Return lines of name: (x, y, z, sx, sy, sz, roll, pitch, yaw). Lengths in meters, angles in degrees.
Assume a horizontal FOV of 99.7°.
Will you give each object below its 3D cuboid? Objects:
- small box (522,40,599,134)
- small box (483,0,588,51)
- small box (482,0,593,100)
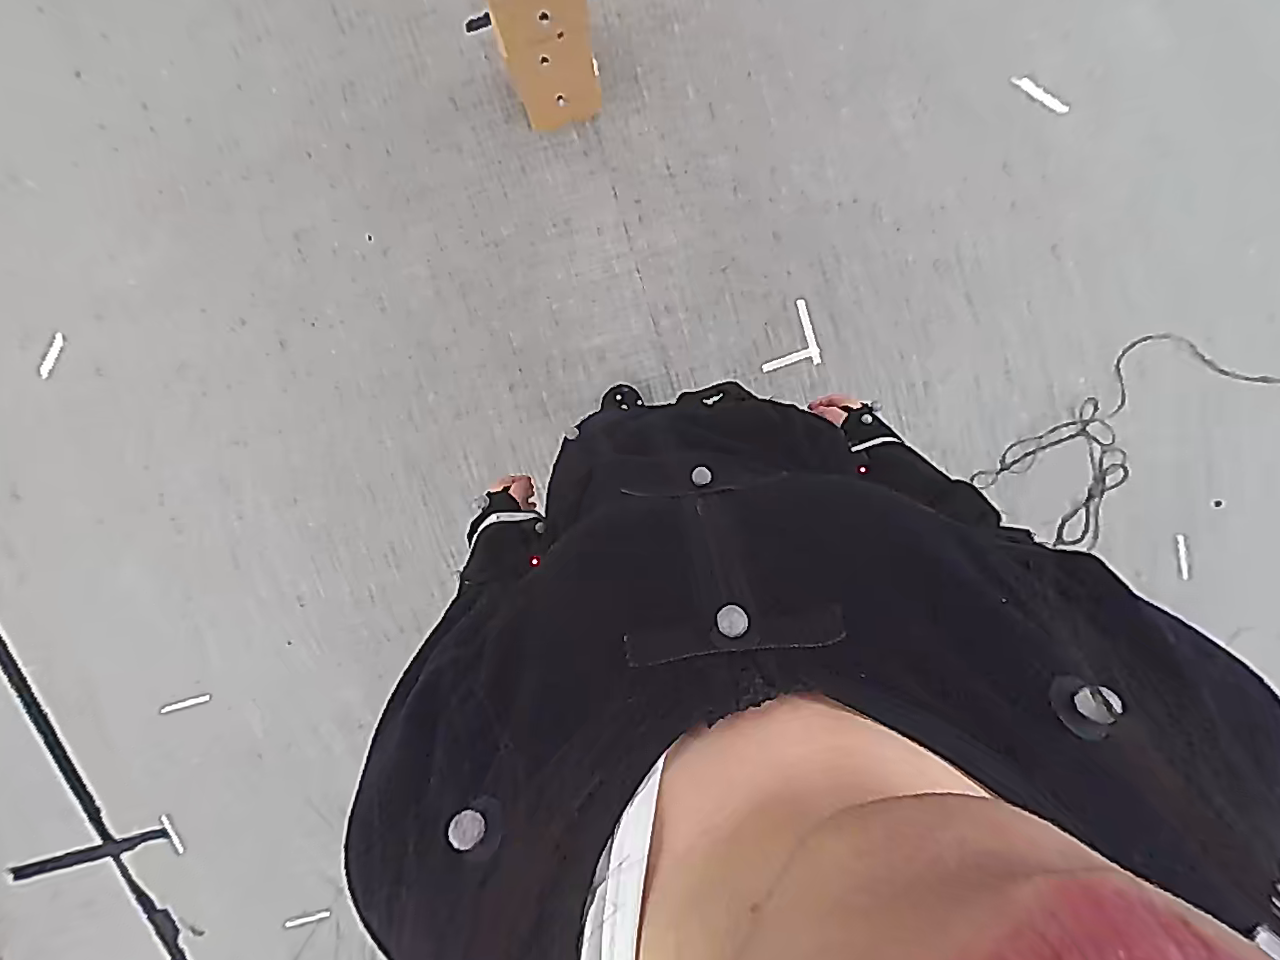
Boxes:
small box: (-0.198, -0.936, 1.241, 0.179, 0.176, 0.168, -17, 101, 2)
small box: (-0.191, -0.877, 0.919, 0.168, 0.176, 0.179, -15, 101, 2)
small box: (-0.201, -0.901, 1.080, 0.179, 0.176, 0.168, -14, 101, 2)
